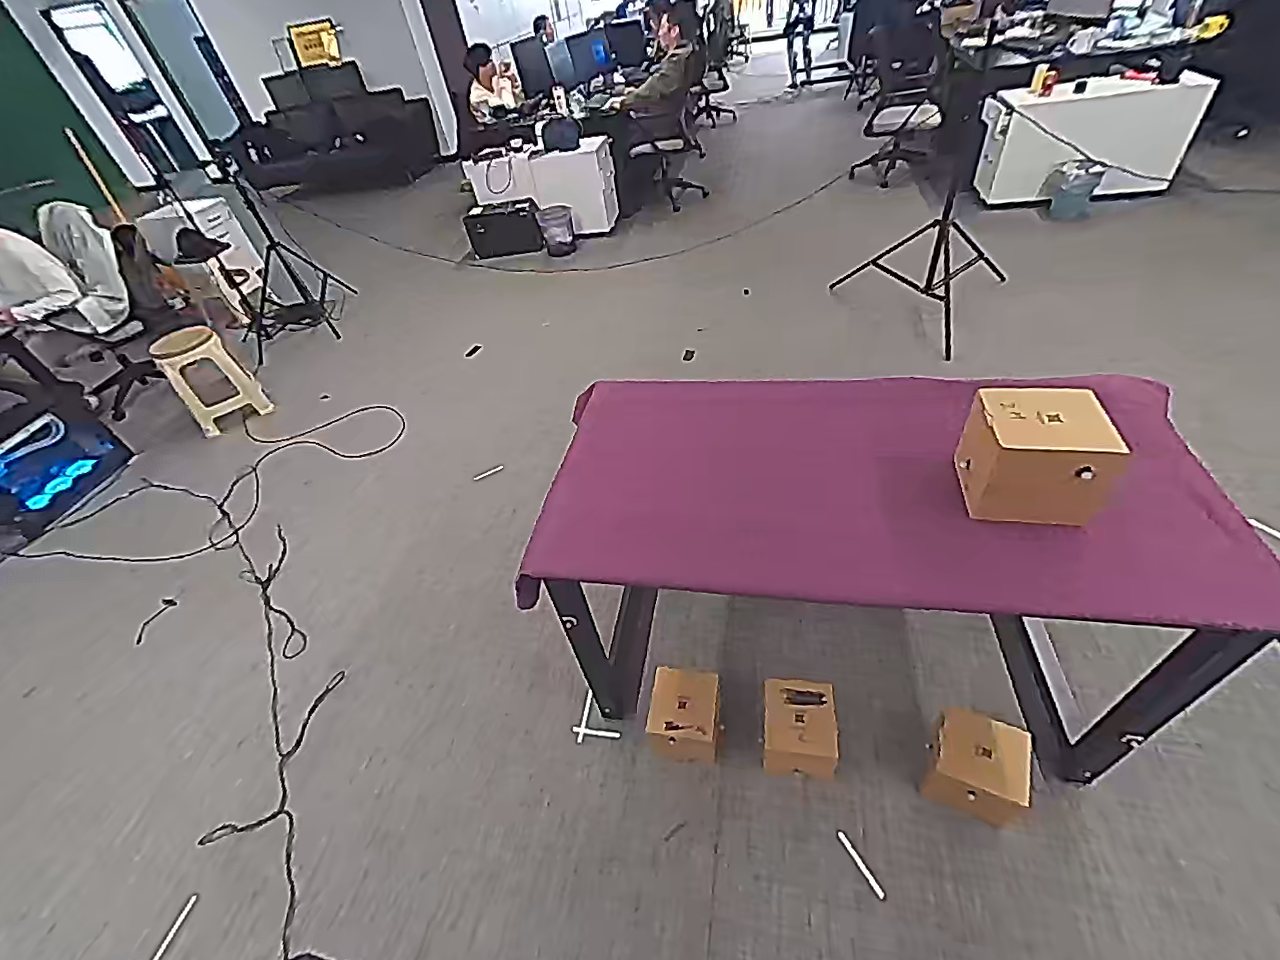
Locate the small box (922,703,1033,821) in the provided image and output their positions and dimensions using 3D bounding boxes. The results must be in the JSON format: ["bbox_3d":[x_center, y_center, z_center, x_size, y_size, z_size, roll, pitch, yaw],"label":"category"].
[{"bbox_3d":[0.774,0.655,1.248,0.179,0.176,0.168,14,49,26],"label":"small box"}]

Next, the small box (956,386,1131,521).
[{"bbox_3d":[0.674,-0.044,0.931,0.179,0.176,0.168,3,44,15],"label":"small box"}]

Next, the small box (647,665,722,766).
[{"bbox_3d":[0.123,0.616,1.417,0.168,0.176,0.179,3,44,14],"label":"small box"}]
